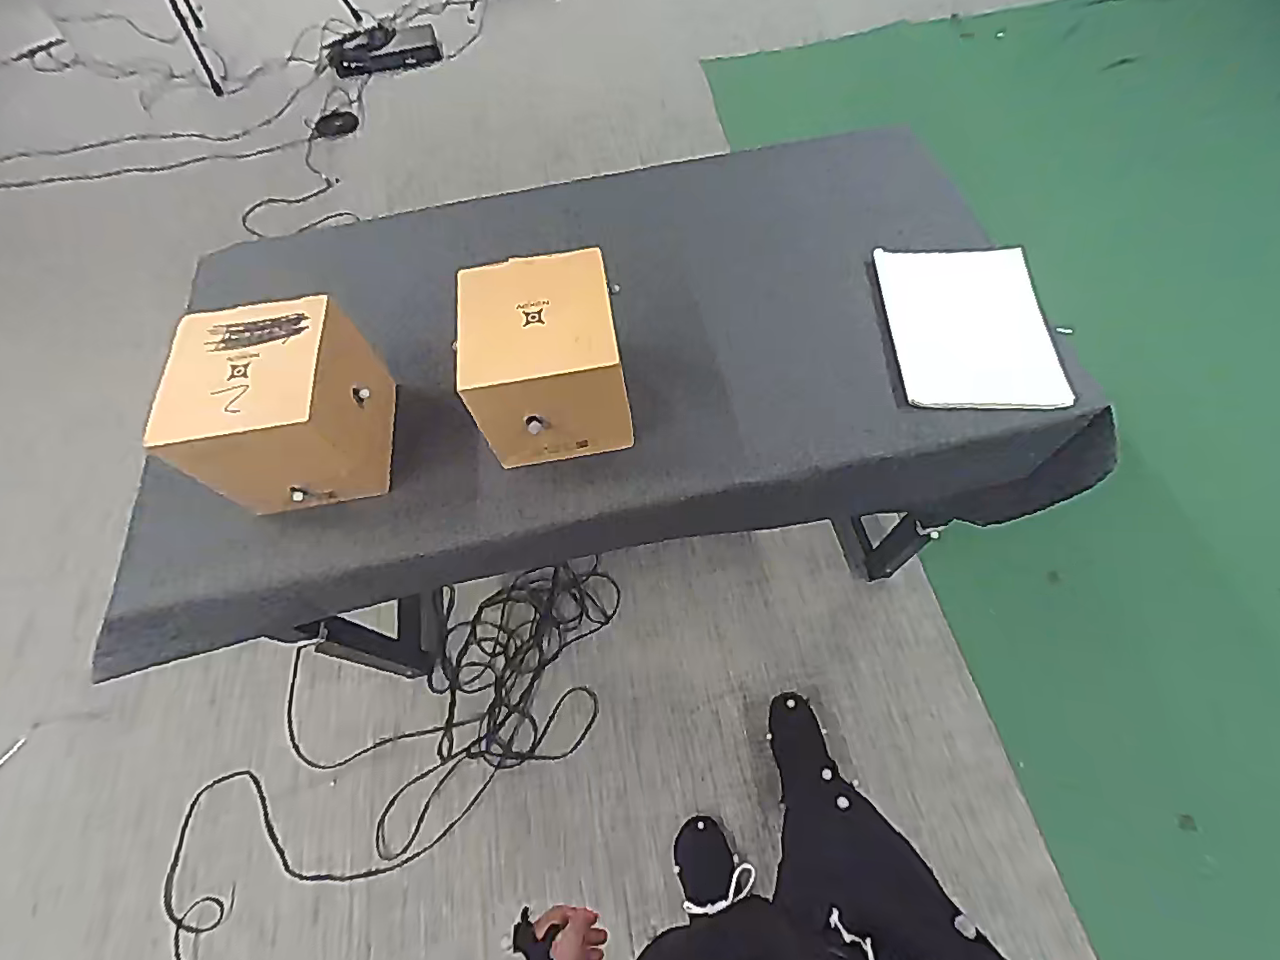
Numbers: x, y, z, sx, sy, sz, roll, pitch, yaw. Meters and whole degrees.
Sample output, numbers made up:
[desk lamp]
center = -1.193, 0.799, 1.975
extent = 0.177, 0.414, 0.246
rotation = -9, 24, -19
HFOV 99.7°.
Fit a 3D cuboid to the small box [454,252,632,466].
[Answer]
[small box]
center = -0.106, -0.130, 0.636
extent = 0.168, 0.176, 0.179
rotation = -10, 61, 0
